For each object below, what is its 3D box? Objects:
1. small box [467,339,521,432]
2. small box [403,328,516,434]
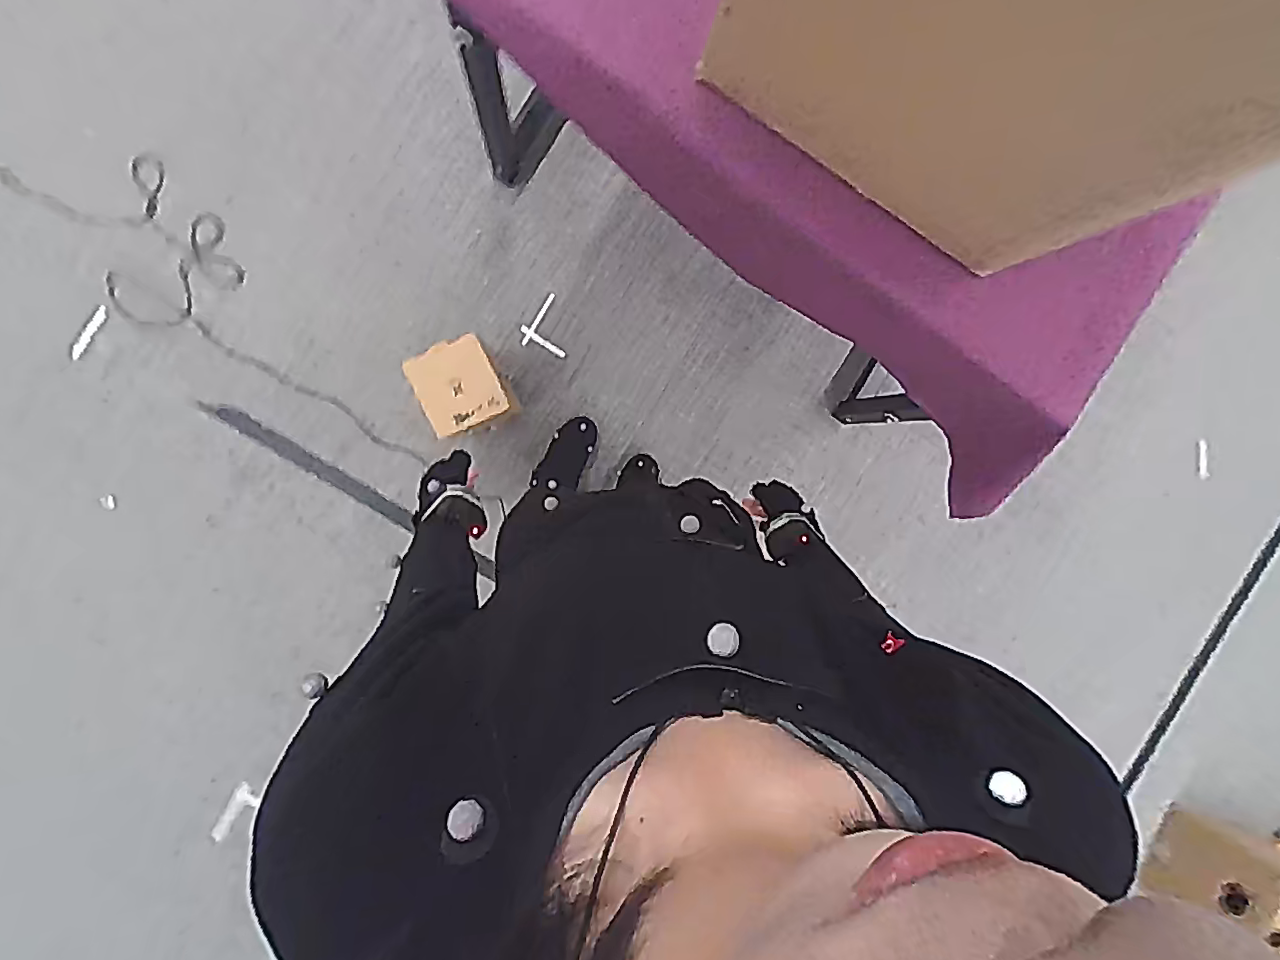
[{"bbox_3d":[-0.412,-0.228,1.356,0.168,0.176,0.179,-27,98,-5],"label":"small box"},{"bbox_3d":[-0.389,-0.209,1.195,0.168,0.176,0.179,-25,97,-5],"label":"small box"}]
